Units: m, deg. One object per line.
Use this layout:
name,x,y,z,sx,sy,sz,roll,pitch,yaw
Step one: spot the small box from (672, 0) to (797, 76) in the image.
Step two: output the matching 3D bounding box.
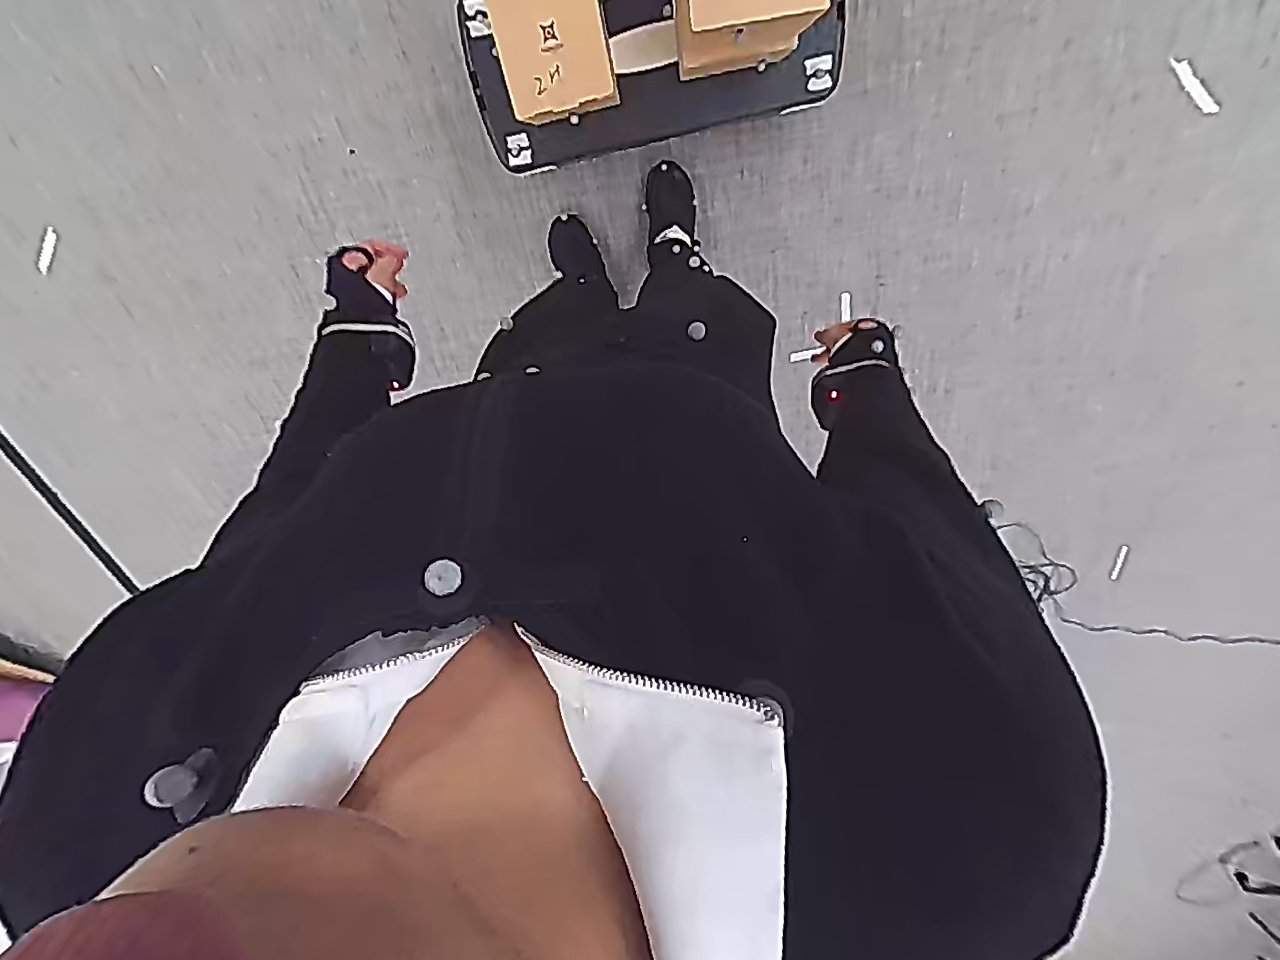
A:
small box,0.140,-0.752,0.846,0.179,0.176,0.168,-7,121,6

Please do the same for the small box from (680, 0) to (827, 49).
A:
small box,0.137,-0.682,0.698,0.179,0.176,0.168,-6,121,5

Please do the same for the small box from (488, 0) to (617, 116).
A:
small box,-0.135,-0.705,0.877,0.168,0.176,0.179,-9,121,7
